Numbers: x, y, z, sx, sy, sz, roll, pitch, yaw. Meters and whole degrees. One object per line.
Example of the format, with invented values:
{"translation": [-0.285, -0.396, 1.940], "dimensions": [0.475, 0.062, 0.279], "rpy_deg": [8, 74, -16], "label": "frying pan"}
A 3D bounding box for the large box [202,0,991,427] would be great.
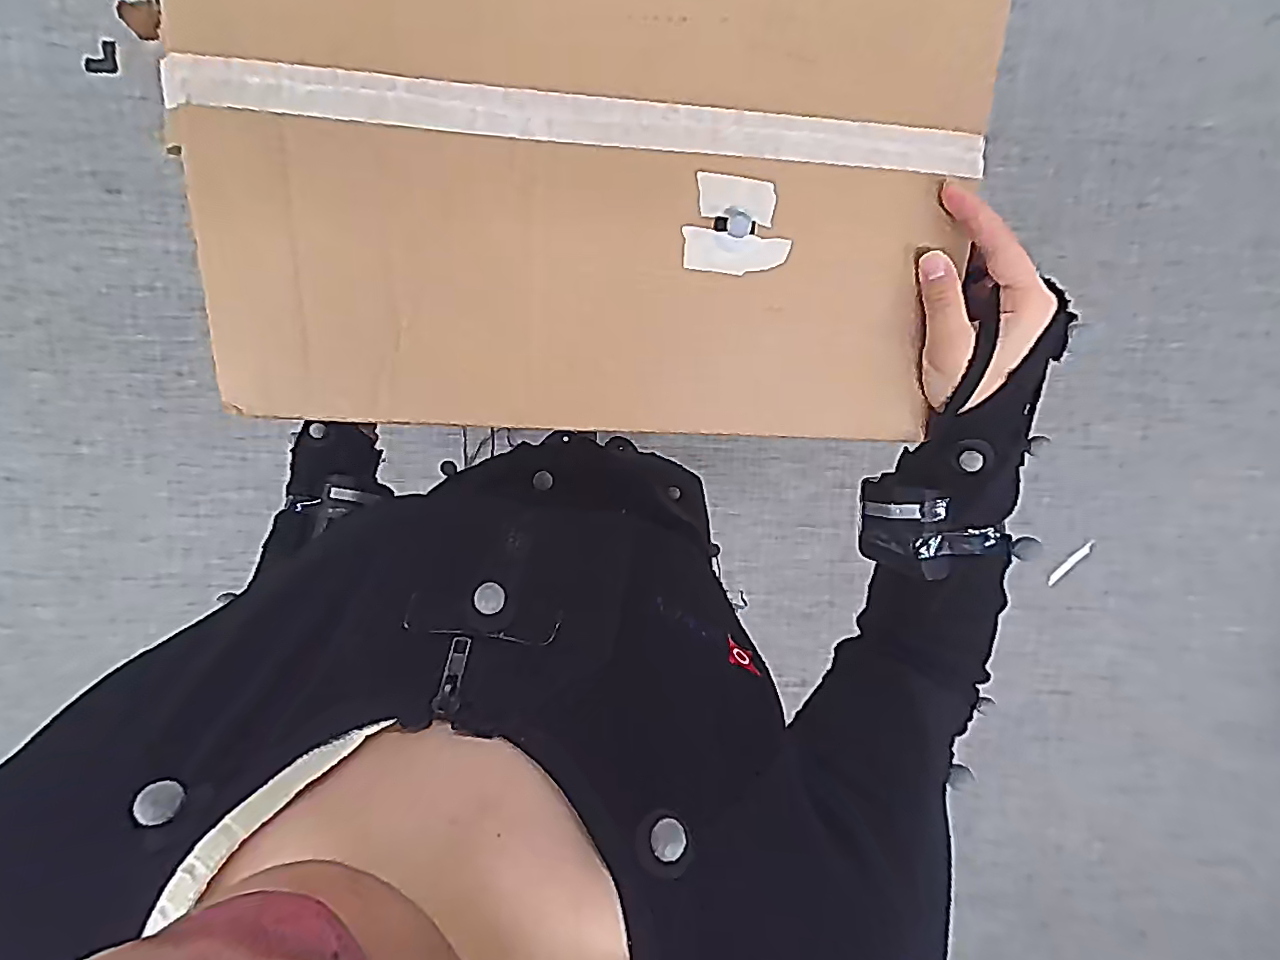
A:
{"translation": [-0.030, -0.218, 0.430], "dimensions": [0.408, 0.320, 0.320], "rpy_deg": [1, 104, -8], "label": "large box"}
